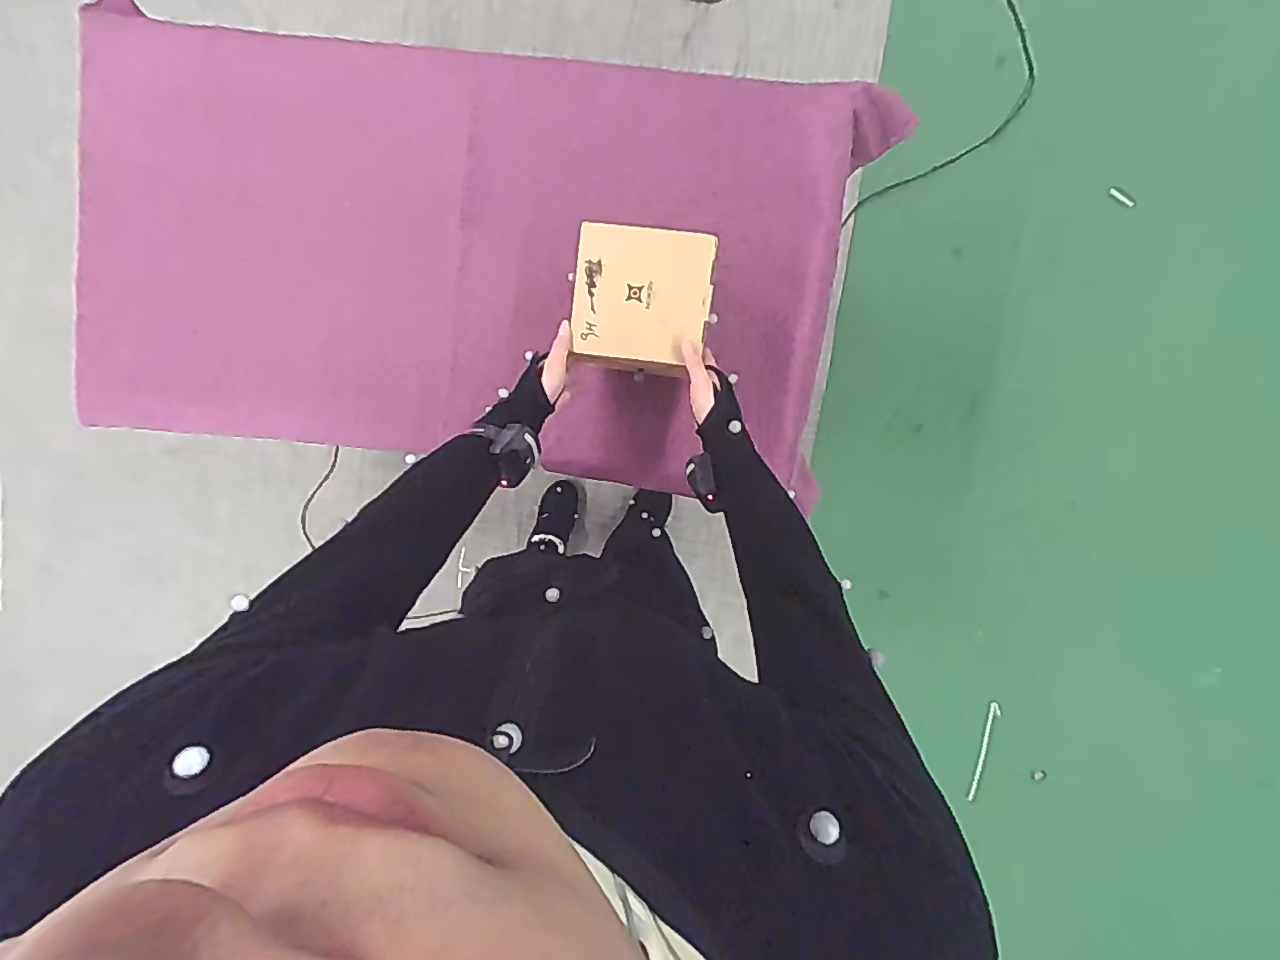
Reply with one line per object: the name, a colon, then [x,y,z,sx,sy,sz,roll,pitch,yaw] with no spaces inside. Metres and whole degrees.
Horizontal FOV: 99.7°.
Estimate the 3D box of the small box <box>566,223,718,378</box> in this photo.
small box: [0.004,-0.240,0.763,0.179,0.176,0.168,8,96,2]
